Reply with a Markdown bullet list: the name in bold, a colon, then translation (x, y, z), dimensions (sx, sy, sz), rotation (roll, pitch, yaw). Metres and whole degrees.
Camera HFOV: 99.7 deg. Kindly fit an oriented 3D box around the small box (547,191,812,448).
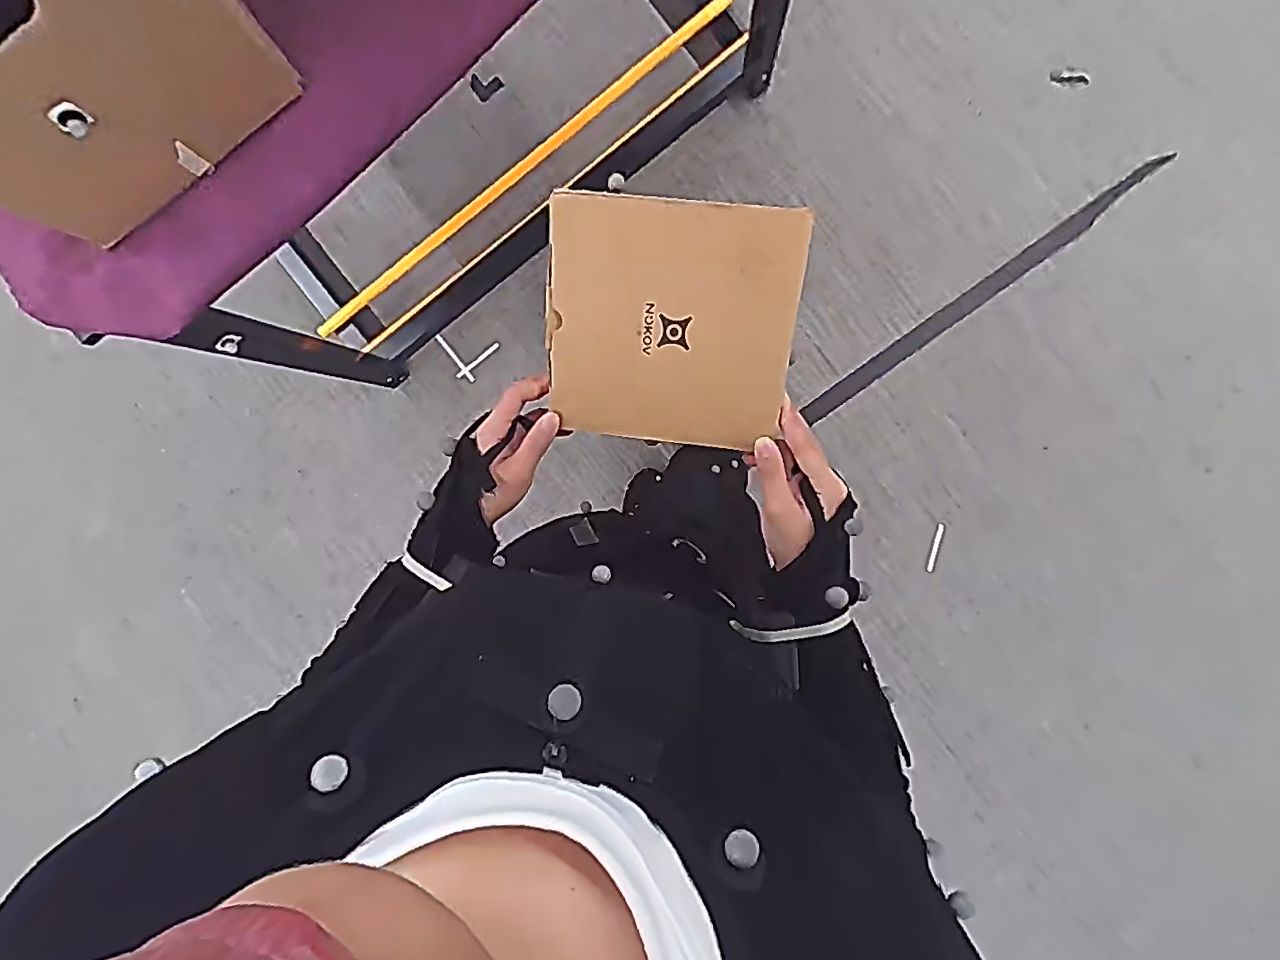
- **small box**: translation (0.030, -0.138, 0.454), dimensions (0.179, 0.176, 0.168), rotation (7, 113, 6)
